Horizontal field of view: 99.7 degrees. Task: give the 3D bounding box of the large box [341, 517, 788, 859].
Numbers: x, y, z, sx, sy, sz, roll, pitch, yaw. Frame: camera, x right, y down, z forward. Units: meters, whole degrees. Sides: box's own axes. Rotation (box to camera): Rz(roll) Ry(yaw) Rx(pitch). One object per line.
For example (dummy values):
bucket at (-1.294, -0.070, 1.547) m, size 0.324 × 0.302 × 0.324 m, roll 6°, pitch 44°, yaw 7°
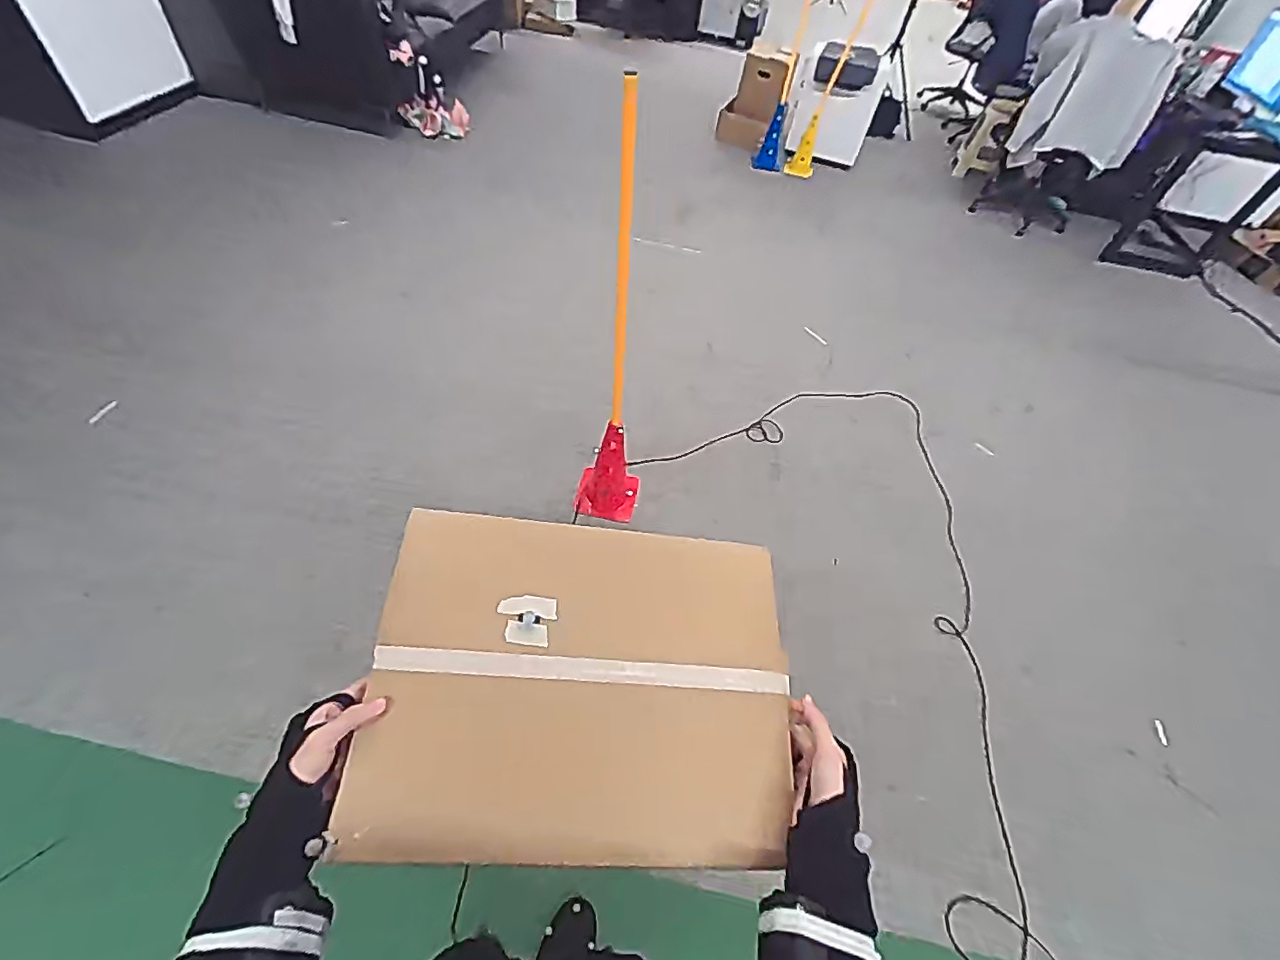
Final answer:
large box at (-0.076, 0.263, 0.677) m, size 0.408 × 0.320 × 0.320 m, roll 7°, pitch 60°, yaw -8°
